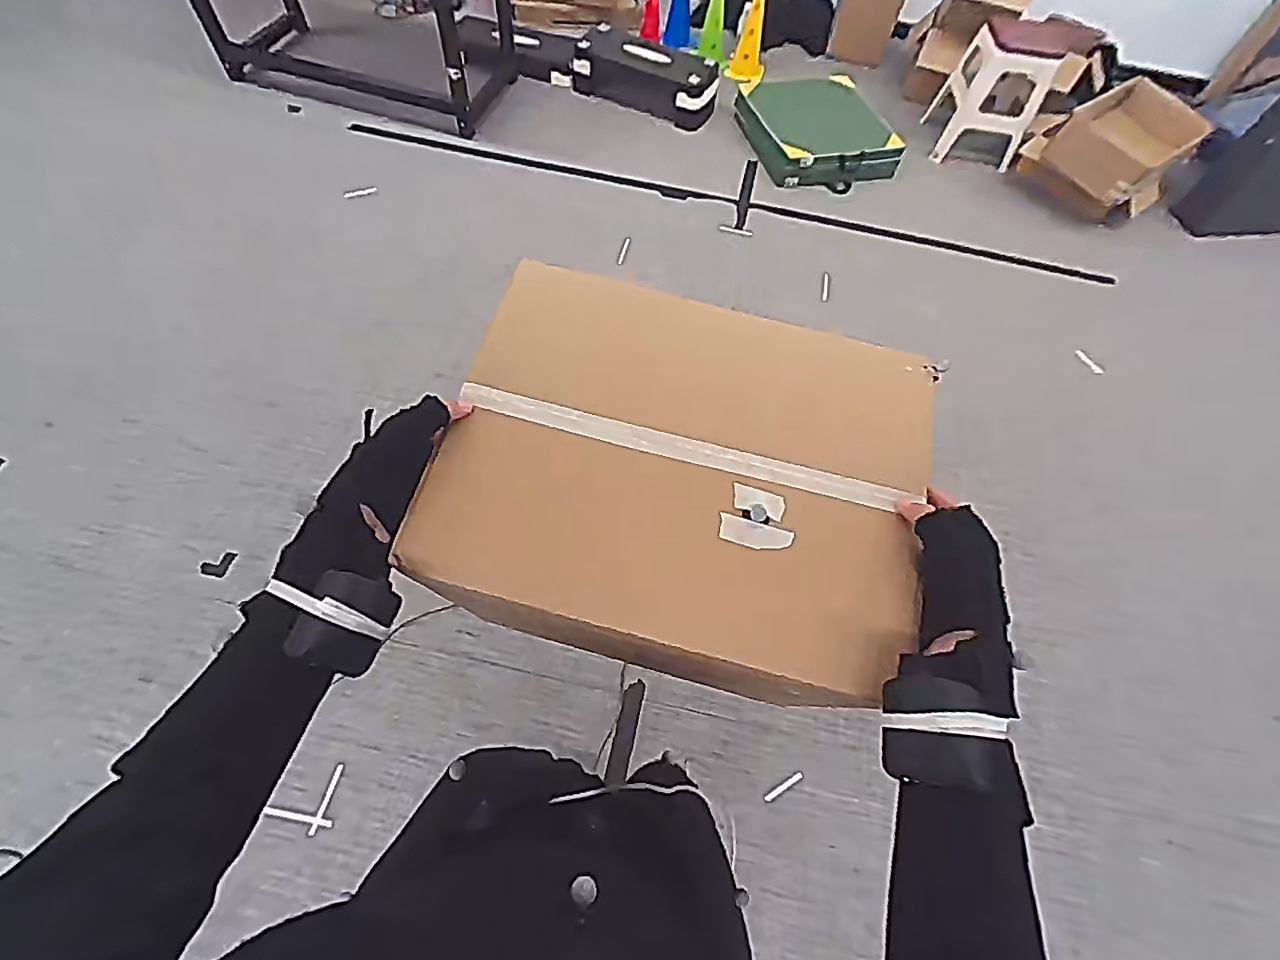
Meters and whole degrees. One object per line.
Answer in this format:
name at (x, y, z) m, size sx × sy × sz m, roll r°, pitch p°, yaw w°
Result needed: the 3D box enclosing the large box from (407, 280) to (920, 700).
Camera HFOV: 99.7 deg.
large box at (0.032, 0.039, 0.608) m, size 0.408 × 0.320 × 0.320 m, roll 15°, pitch 69°, yaw 2°
